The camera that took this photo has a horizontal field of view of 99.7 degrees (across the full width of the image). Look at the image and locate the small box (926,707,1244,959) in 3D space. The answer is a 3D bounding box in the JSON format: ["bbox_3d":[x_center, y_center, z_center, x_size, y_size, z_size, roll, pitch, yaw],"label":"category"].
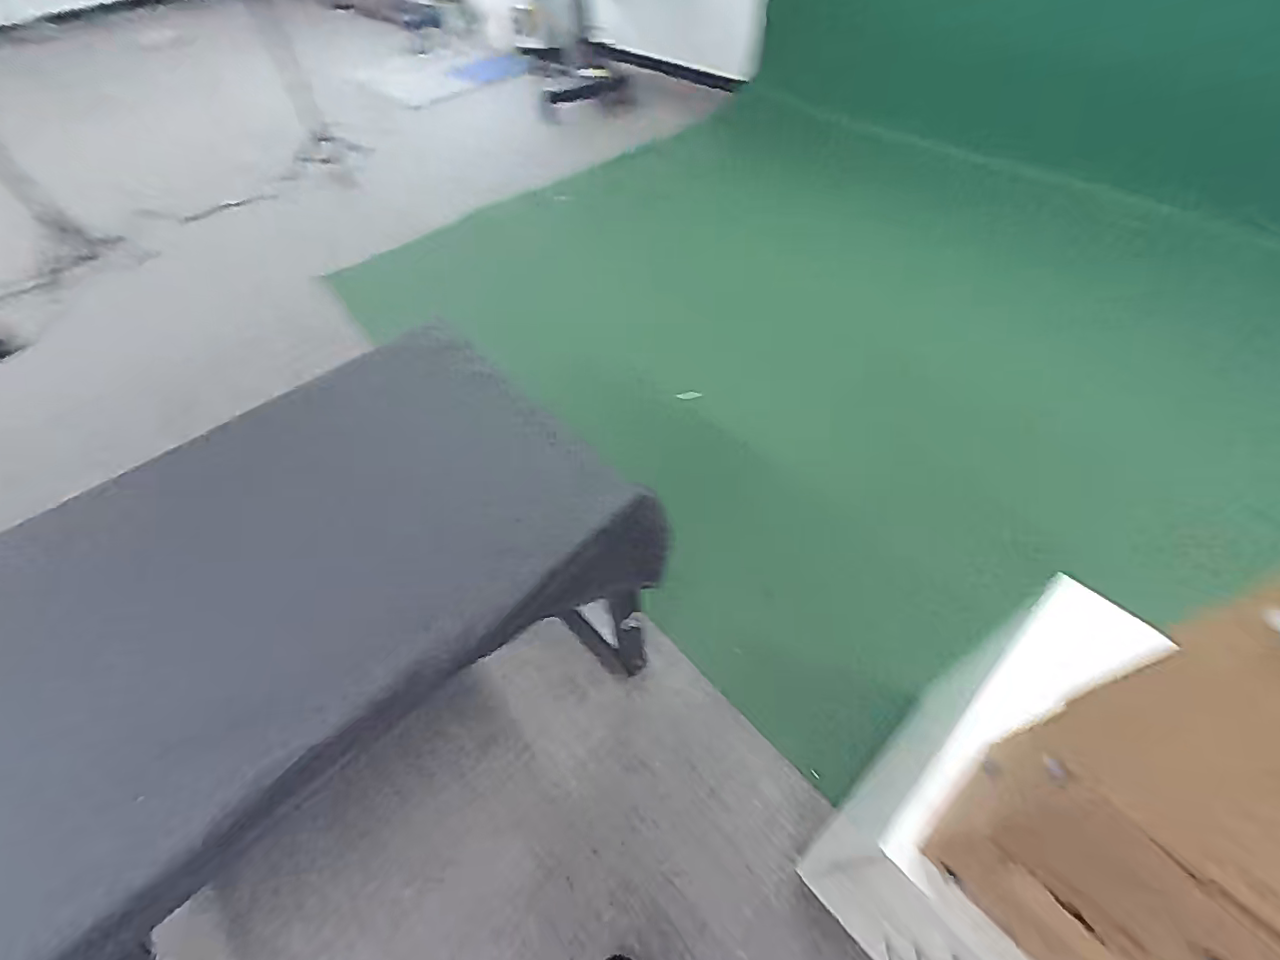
[{"bbox_3d":[0.427,0.376,0.553,0.179,0.176,0.168,-35,59,-24],"label":"small box"}]
